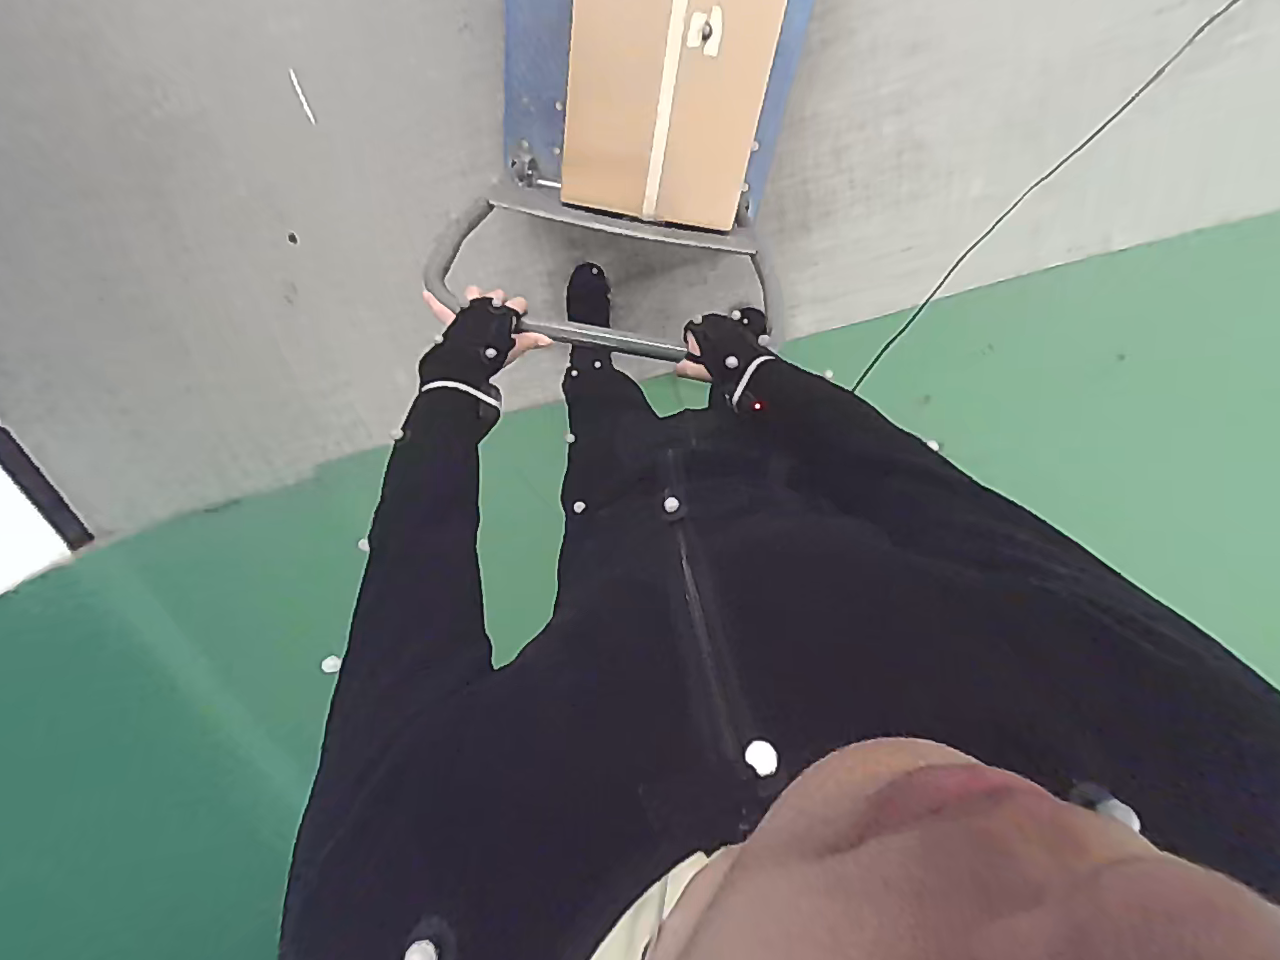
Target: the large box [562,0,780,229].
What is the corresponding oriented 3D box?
[{"bbox_3d":[0.046,-0.724,0.995,0.320,0.320,0.408,9,125,-4],"label":"large box"}]
